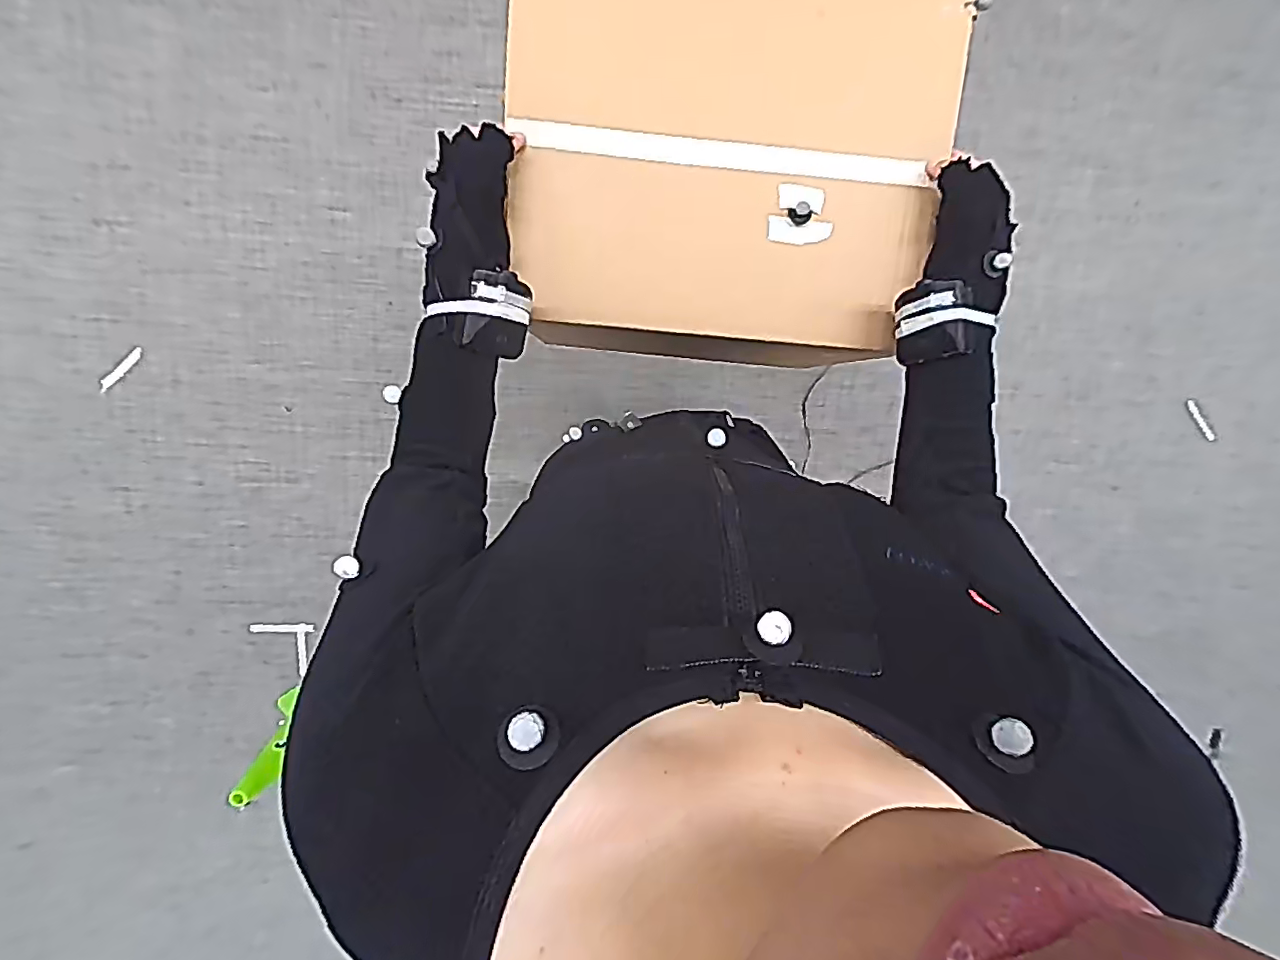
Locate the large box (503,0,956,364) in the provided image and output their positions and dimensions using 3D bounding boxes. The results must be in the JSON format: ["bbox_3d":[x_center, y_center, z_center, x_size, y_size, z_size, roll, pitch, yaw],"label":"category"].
[{"bbox_3d":[0.068,-0.315,0.639,0.408,0.320,0.320,4,99,-4],"label":"large box"}]

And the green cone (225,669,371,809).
[{"bbox_3d":[-0.895,0.681,1.369,0.202,0.368,0.200,-34,96,5],"label":"green cone"}]
